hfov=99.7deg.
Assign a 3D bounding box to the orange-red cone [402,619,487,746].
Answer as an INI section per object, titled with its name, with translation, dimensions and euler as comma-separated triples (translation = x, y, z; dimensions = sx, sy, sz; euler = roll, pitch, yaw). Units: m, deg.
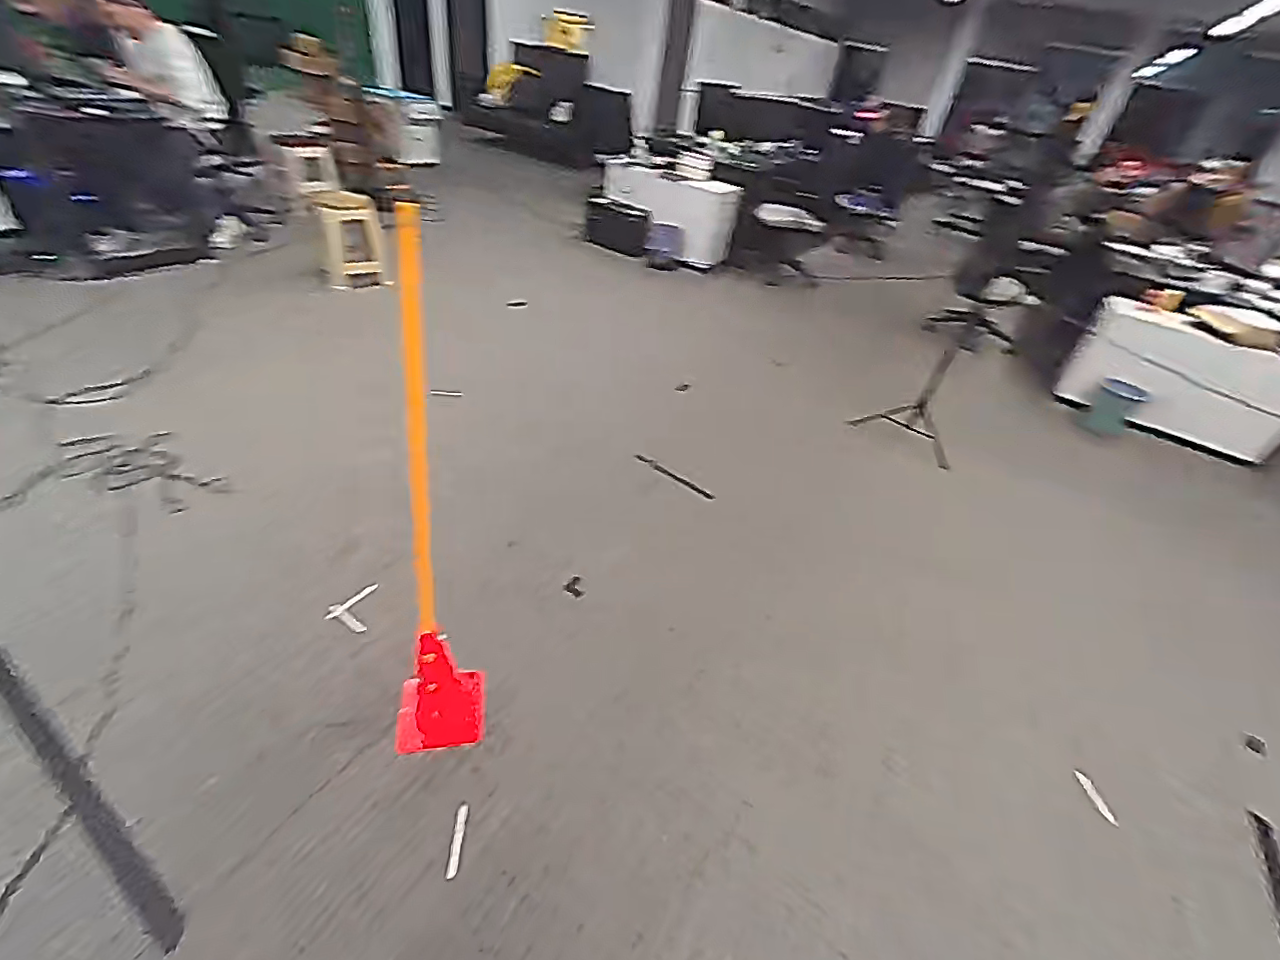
[orange-red cone]
translation = -0.476, 0.451, 1.284
dimensions = 0.198, 0.360, 0.199
euler = -1, 42, -12
